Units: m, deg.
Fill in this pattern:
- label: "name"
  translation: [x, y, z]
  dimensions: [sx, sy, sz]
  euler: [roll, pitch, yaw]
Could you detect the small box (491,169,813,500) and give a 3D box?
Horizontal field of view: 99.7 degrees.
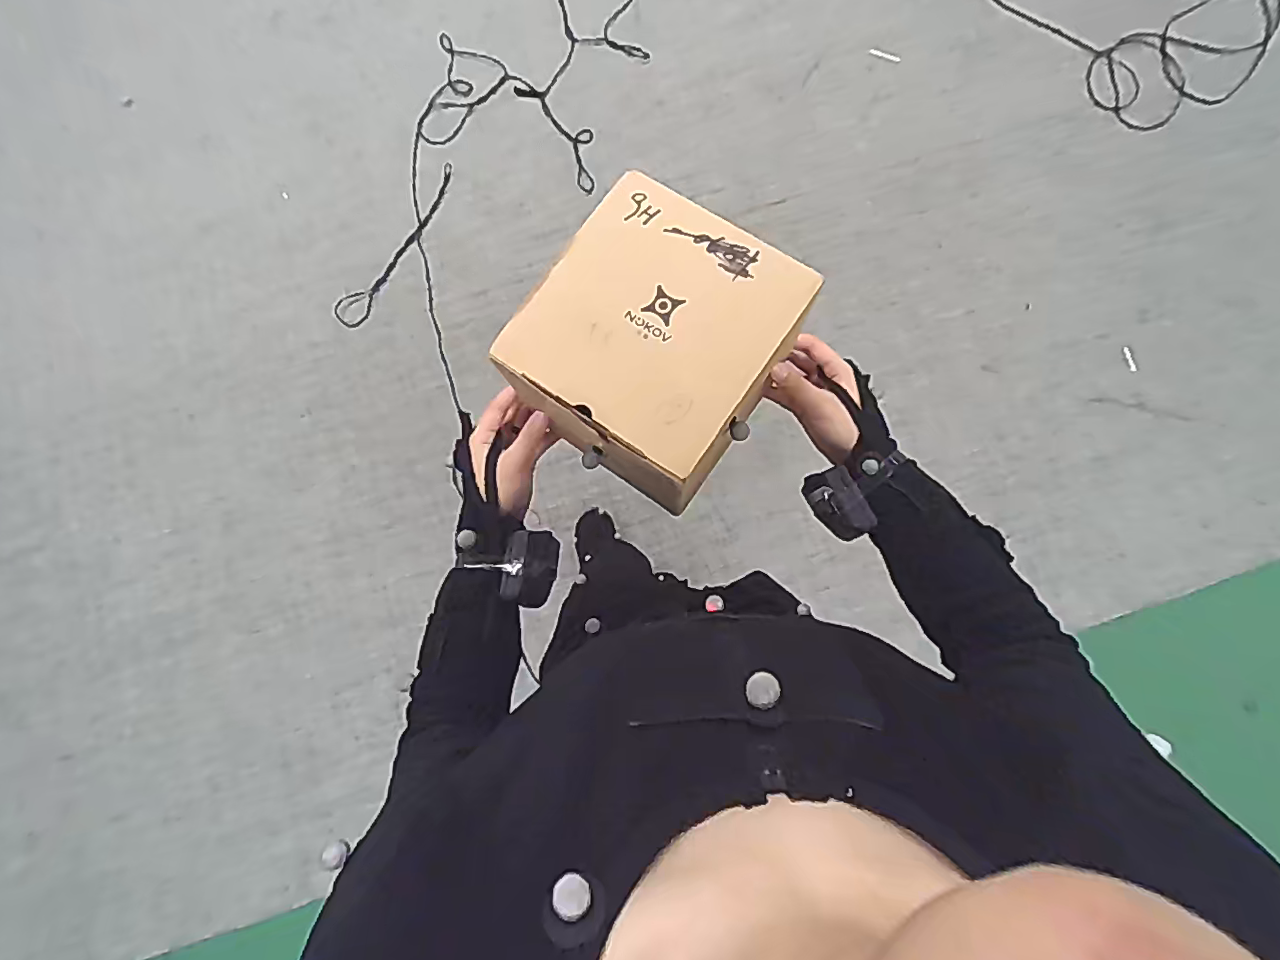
- label: "small box"
  translation: [0.014, -0.101, 0.454]
  dimensions: [0.168, 0.176, 0.179]
  euler: [34, 83, 9]
